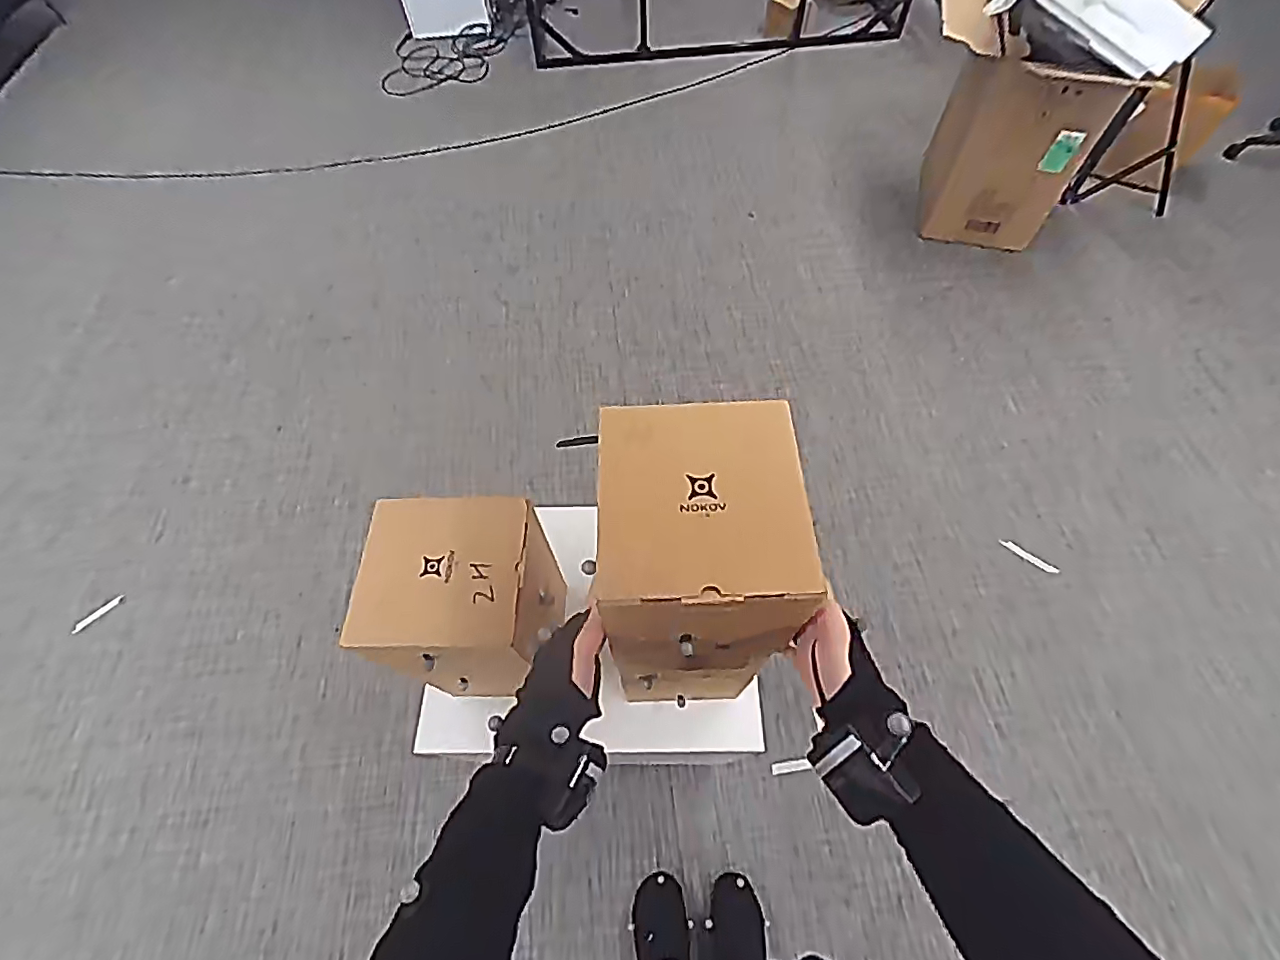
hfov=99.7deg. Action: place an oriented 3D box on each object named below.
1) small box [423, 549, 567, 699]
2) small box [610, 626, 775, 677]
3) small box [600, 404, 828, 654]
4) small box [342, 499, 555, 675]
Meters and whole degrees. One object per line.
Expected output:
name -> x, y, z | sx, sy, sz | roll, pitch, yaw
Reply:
small box -> -0.202, 0.210, 0.785 | 0.168, 0.176, 0.179 | 0, 60, 2
small box -> 0.055, 0.130, 0.635 | 0.168, 0.176, 0.179 | -2, 60, 1
small box -> 0.052, 0.051, 0.493 | 0.168, 0.176, 0.179 | -2, 61, 0
small box -> -0.207, 0.132, 0.640 | 0.179, 0.176, 0.168 | 0, 62, 1
